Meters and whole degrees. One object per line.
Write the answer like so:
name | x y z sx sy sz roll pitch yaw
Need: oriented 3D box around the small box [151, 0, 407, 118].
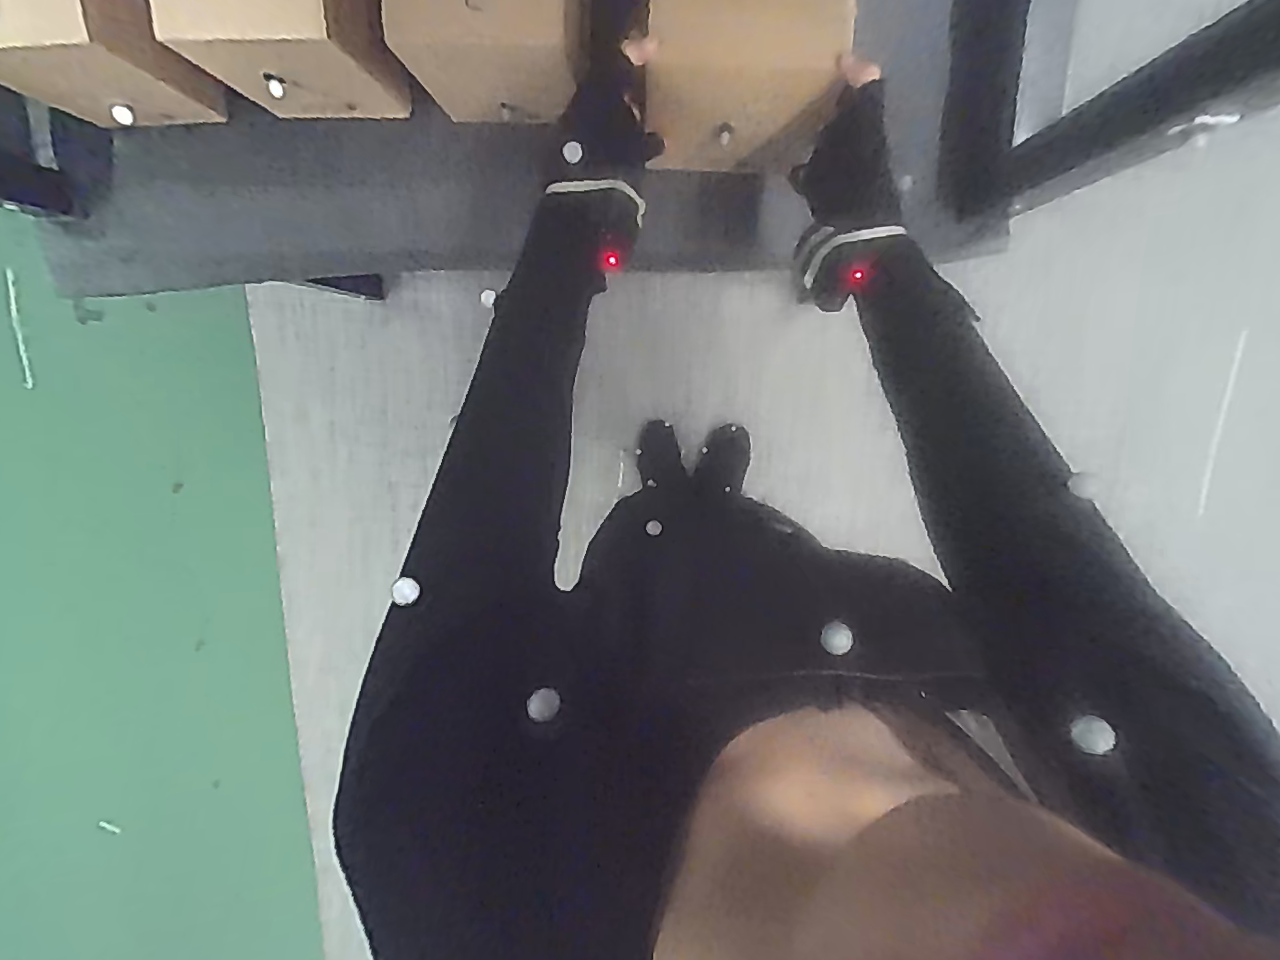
small box | -0.358 -0.502 0.556 0.168 0.176 0.179 2 101 2

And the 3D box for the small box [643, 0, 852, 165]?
small box | 0.090 -0.425 0.505 0.168 0.176 0.179 3 93 -1

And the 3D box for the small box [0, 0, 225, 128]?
small box | -0.584 -0.502 0.565 0.168 0.176 0.179 -1 101 3
